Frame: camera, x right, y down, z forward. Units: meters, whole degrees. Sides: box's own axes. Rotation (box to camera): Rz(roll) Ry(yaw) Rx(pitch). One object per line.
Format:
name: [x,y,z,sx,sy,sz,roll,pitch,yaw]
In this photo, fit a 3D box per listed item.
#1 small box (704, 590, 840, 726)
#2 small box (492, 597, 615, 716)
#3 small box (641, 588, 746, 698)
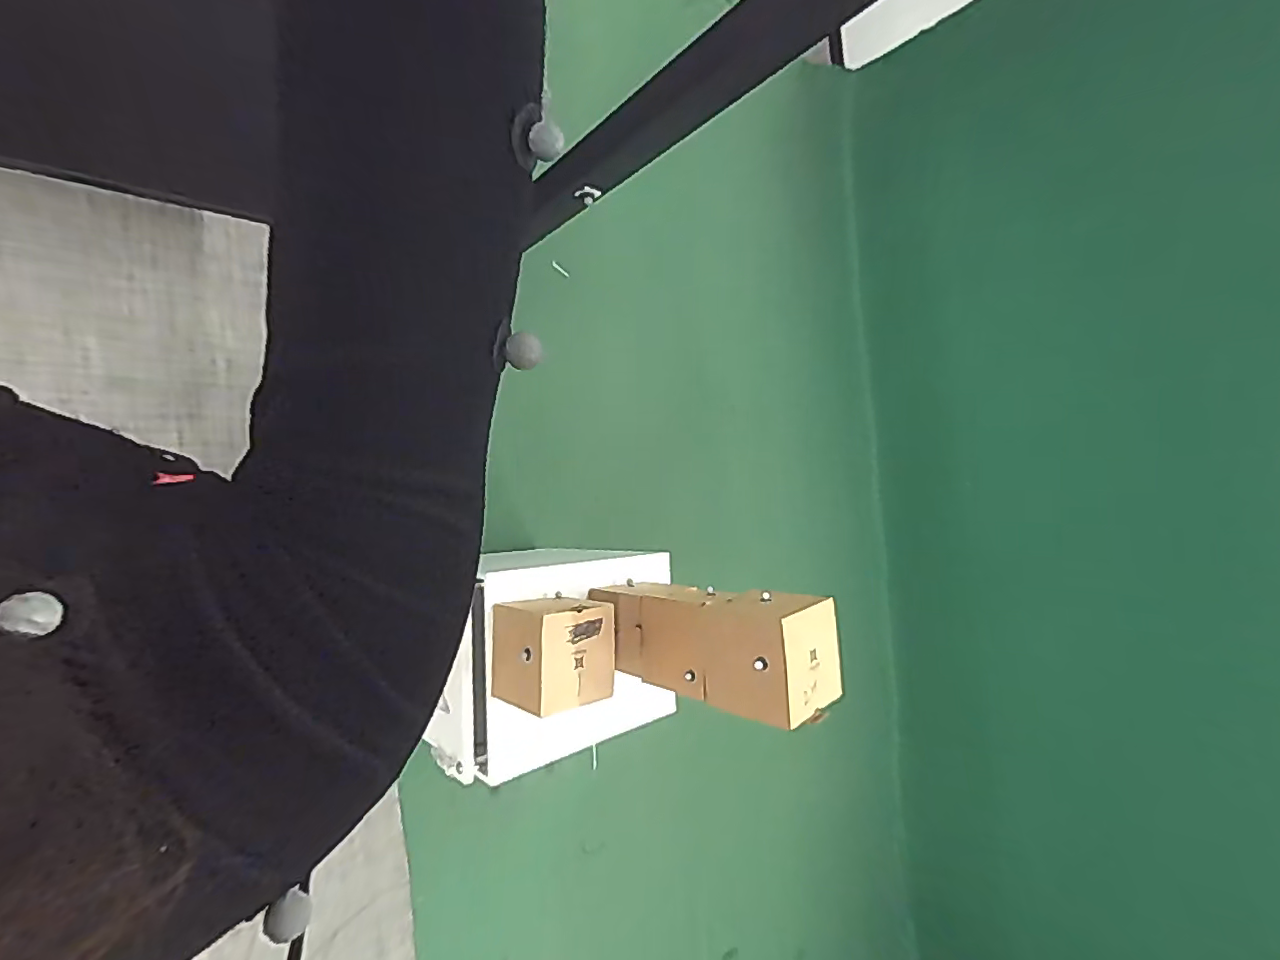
small box: [0.225,0.293,0.939,0.168,0.176,0.179,-5,91,-43]
small box: [-0.164,0.317,1.016,0.168,0.176,0.179,5,84,-44]
small box: [0.116,0.307,1.062,0.168,0.176,0.179,5,84,-43]
